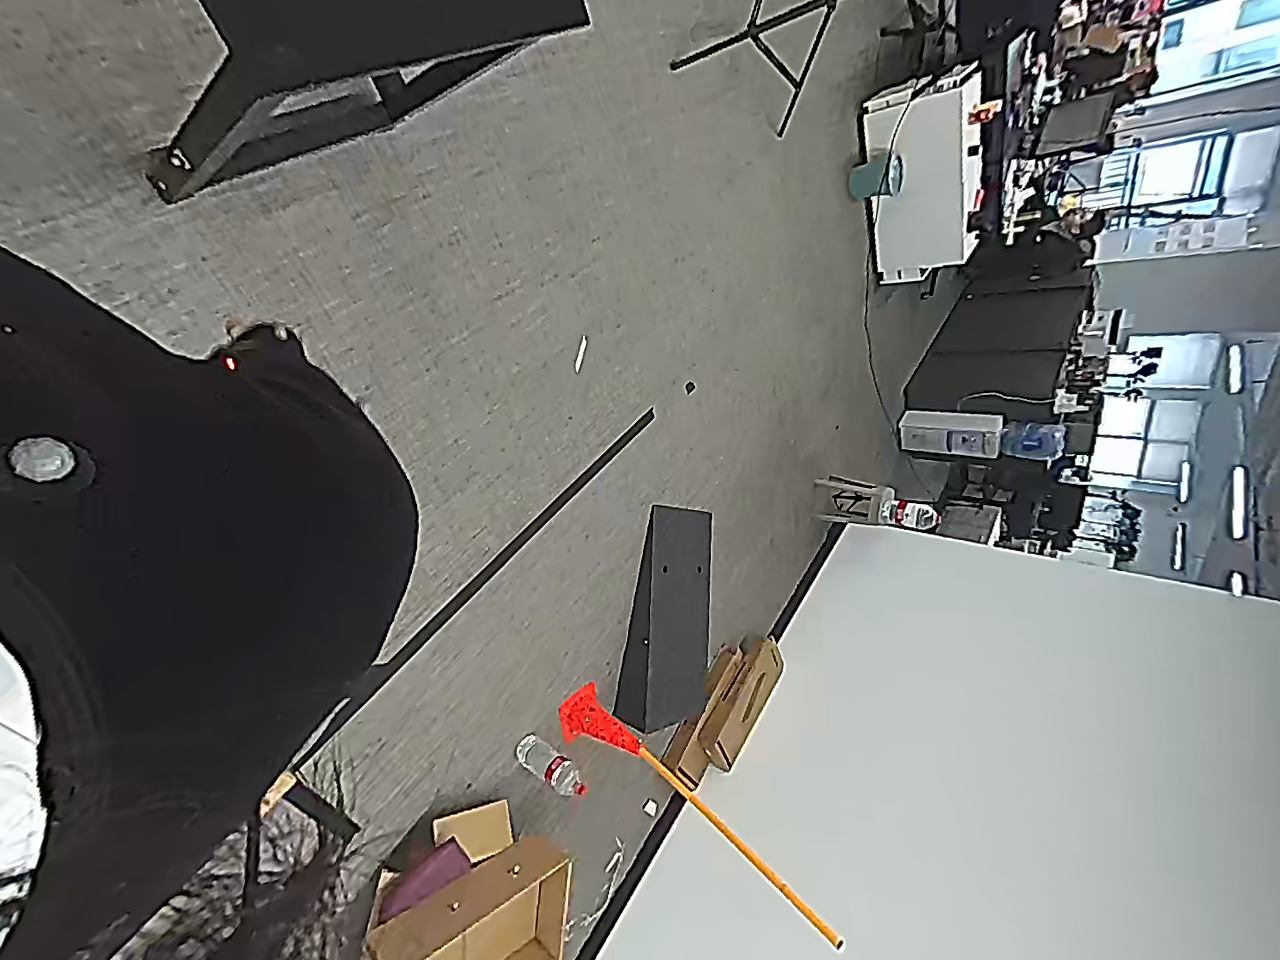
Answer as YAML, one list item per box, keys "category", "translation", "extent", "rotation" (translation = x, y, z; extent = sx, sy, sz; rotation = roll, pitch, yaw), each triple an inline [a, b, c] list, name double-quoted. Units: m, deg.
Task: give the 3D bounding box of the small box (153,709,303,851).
- category: "small box"
  translation: [-0.853, 0.612, 1.122]
  extent: [0.168, 0.176, 0.179]
  rotation: [-47, 131, -30]
